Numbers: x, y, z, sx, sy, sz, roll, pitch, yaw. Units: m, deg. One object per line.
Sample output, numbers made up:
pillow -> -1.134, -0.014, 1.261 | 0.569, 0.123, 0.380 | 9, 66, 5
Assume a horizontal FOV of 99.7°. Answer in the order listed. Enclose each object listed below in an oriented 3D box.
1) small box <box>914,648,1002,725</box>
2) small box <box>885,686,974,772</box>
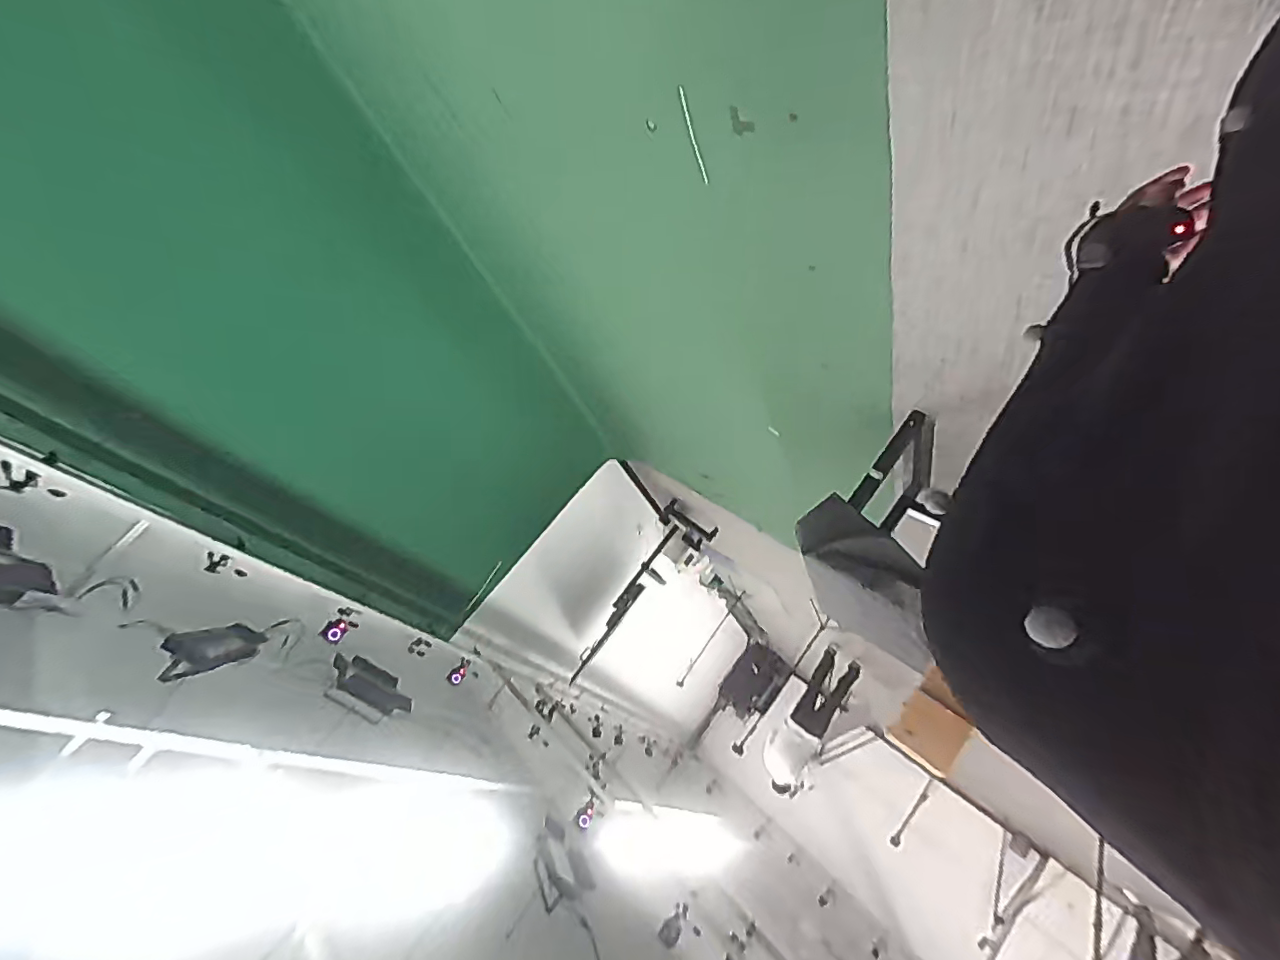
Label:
small box -> 1.002, 0.653, 1.716 | 0.179, 0.176, 0.168 | 33, 168, 30
small box -> 0.892, 0.765, 1.669 | 0.179, 0.176, 0.168 | 34, 169, 28
